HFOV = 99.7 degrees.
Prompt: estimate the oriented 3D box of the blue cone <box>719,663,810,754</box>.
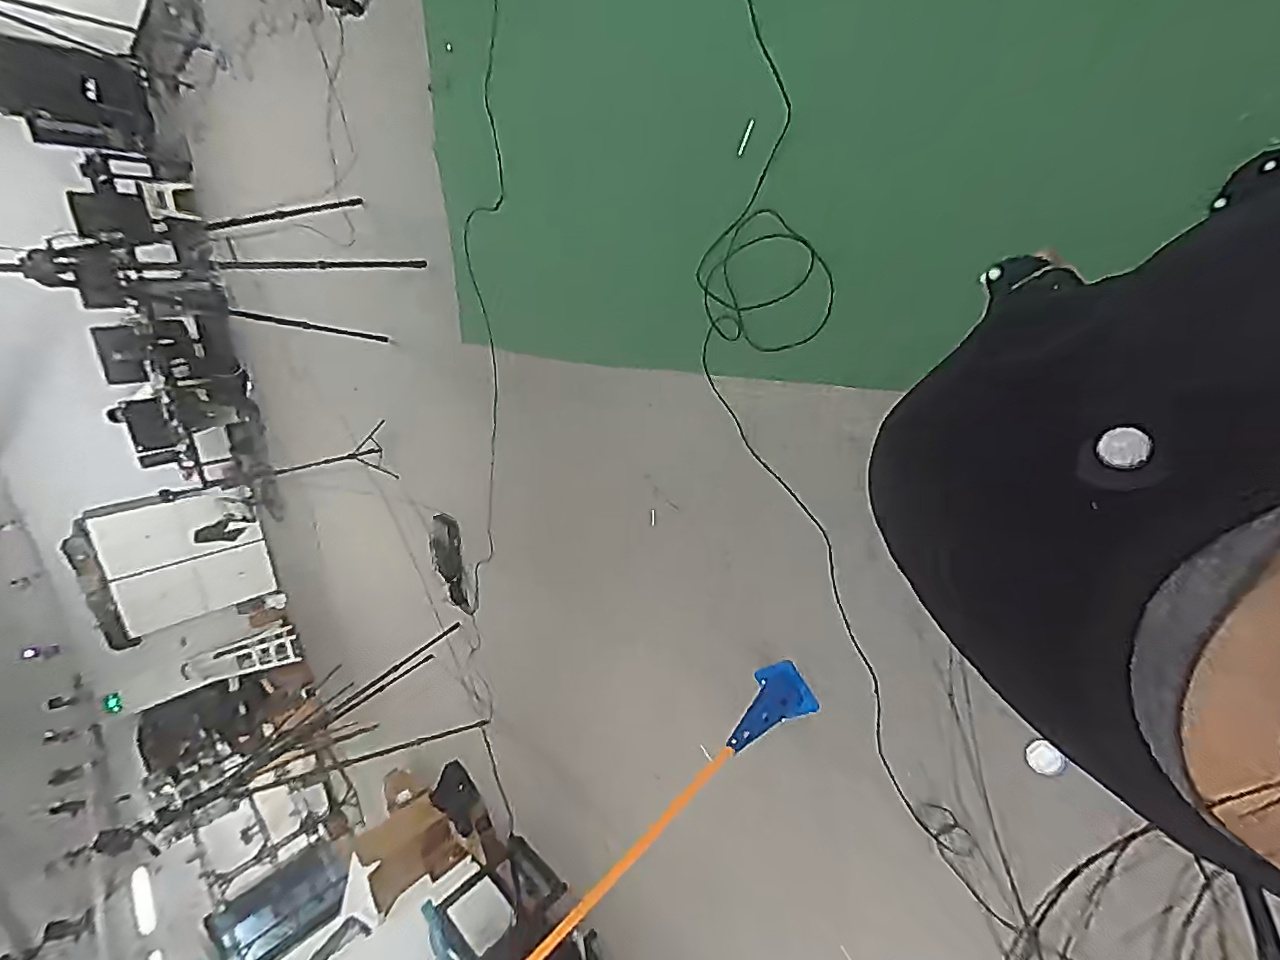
[{"bbox_3d":[0.401,0.819,1.857,0.192,0.380,0.193,56,137,12],"label":"blue cone"}]
